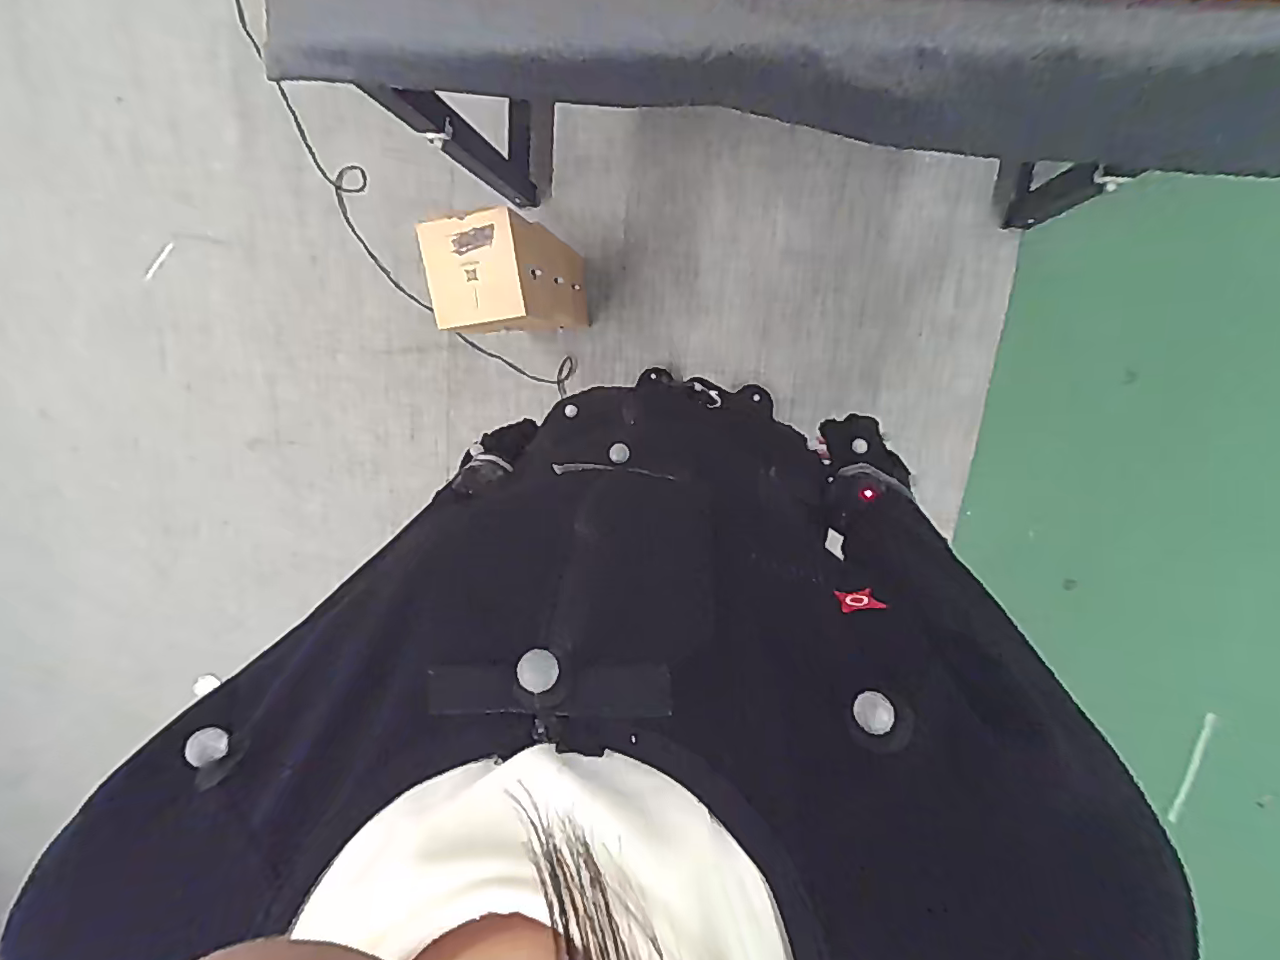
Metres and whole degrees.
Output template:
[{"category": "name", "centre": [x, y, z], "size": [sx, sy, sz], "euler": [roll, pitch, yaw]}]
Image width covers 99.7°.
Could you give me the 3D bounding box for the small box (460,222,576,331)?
[{"category": "small box", "centre": [-0.248, -0.419, 1.146], "size": [0.168, 0.176, 0.179], "euler": [-9, 100, 13]}]
